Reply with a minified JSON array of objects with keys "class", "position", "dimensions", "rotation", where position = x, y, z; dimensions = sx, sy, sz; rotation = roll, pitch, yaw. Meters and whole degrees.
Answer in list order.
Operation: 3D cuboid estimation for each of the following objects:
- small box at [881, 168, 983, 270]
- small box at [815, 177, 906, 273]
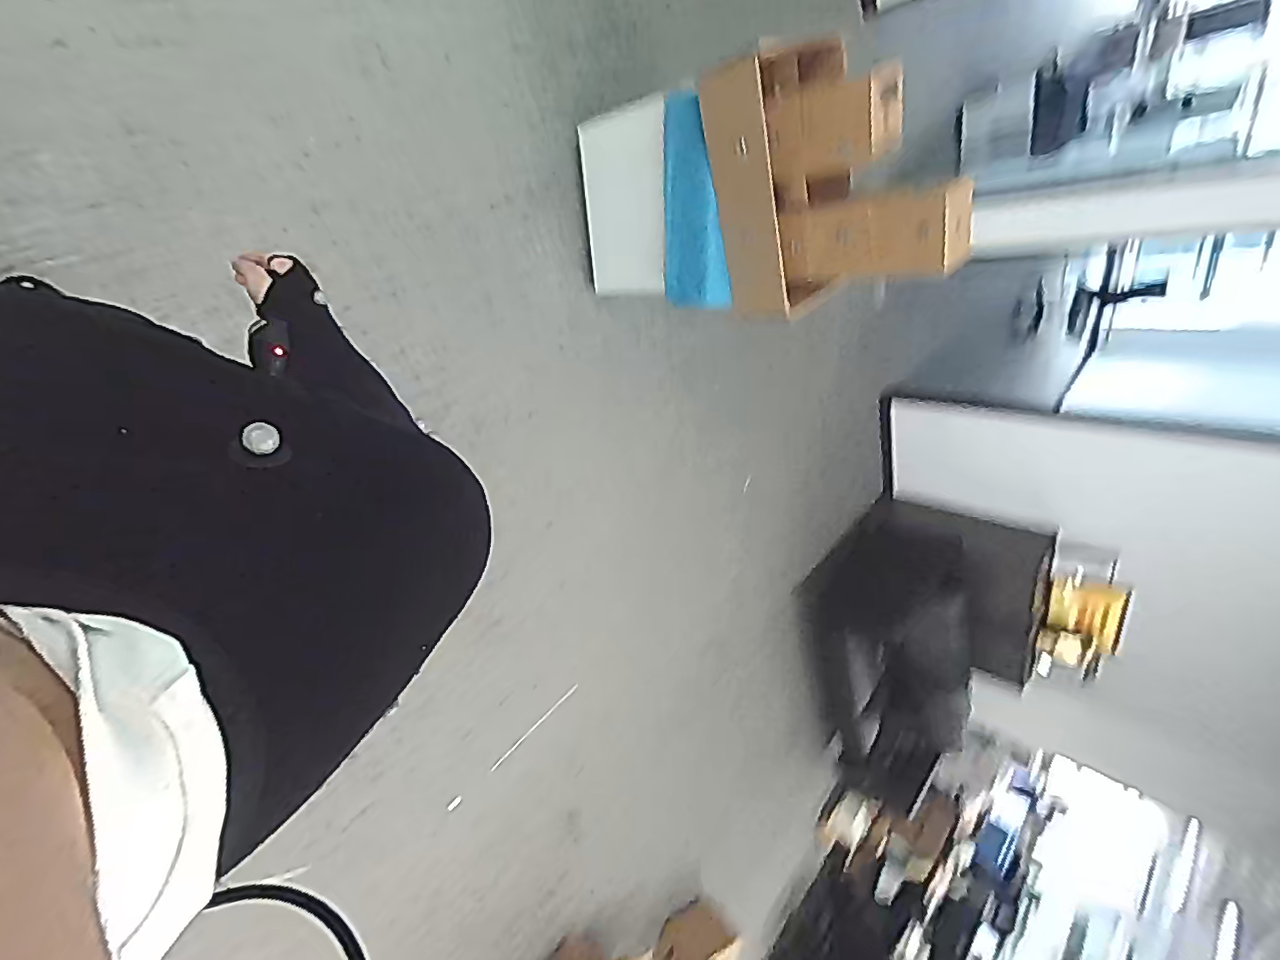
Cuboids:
[{"class":"small box","position":[0.686,-0.612,1.281],"dimensions":[0.168,0.176,0.179],"rotation":[-36,125,-30]},{"class":"small box","position":[0.569,-0.650,1.391],"dimensions":[0.168,0.176,0.179],"rotation":[-38,124,-29]}]
